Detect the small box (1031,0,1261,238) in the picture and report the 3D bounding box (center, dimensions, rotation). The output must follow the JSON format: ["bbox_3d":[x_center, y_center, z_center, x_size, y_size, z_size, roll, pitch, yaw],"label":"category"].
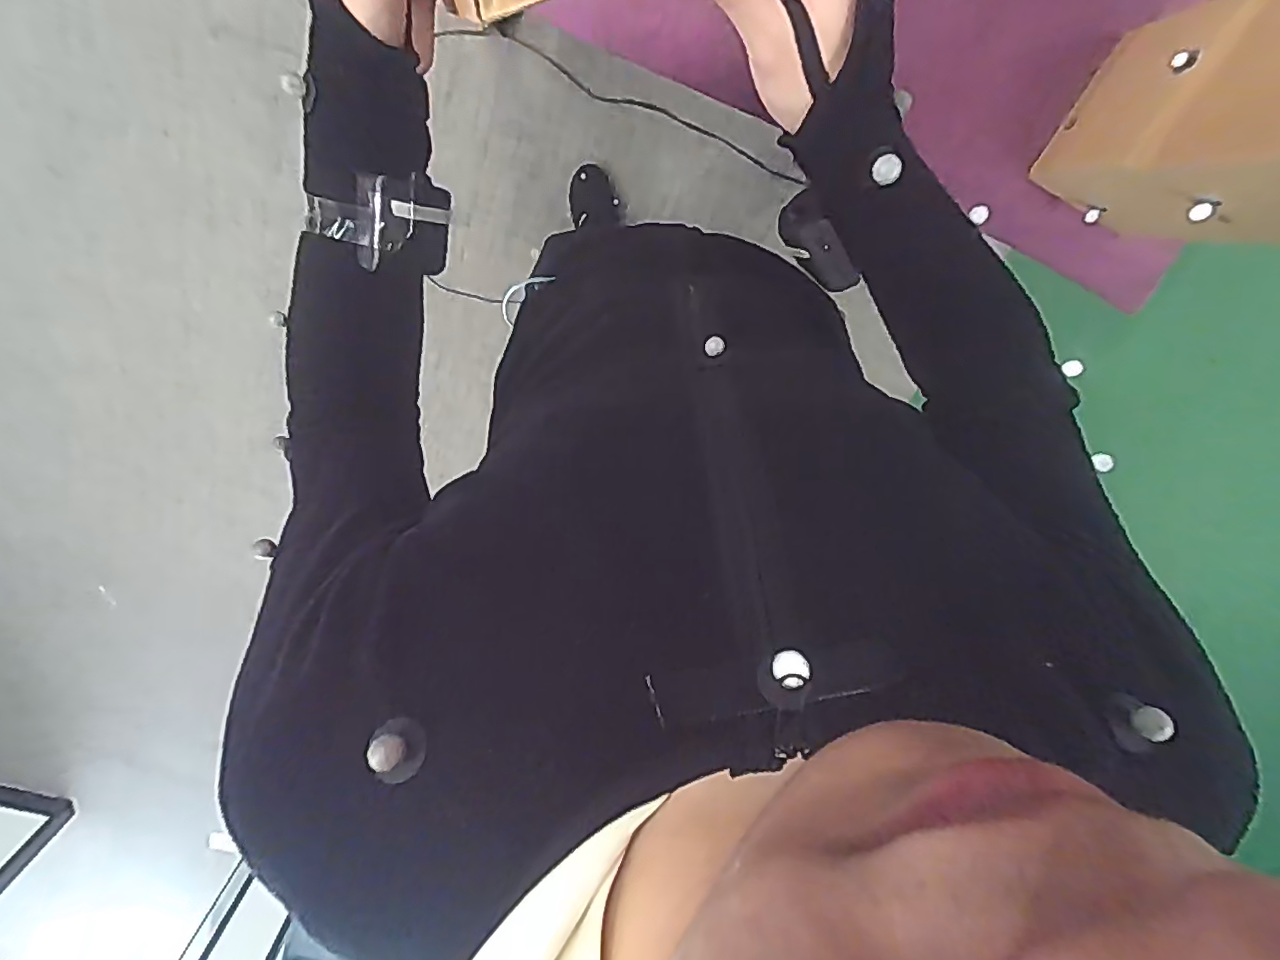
[{"bbox_3d":[0.609,-0.398,0.610,0.179,0.176,0.168,23,115,-11],"label":"small box"}]

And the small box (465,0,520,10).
[{"bbox_3d":[-0.045,-0.352,0.251,0.168,0.179,0.176,-25,138,-4],"label":"small box"}]
